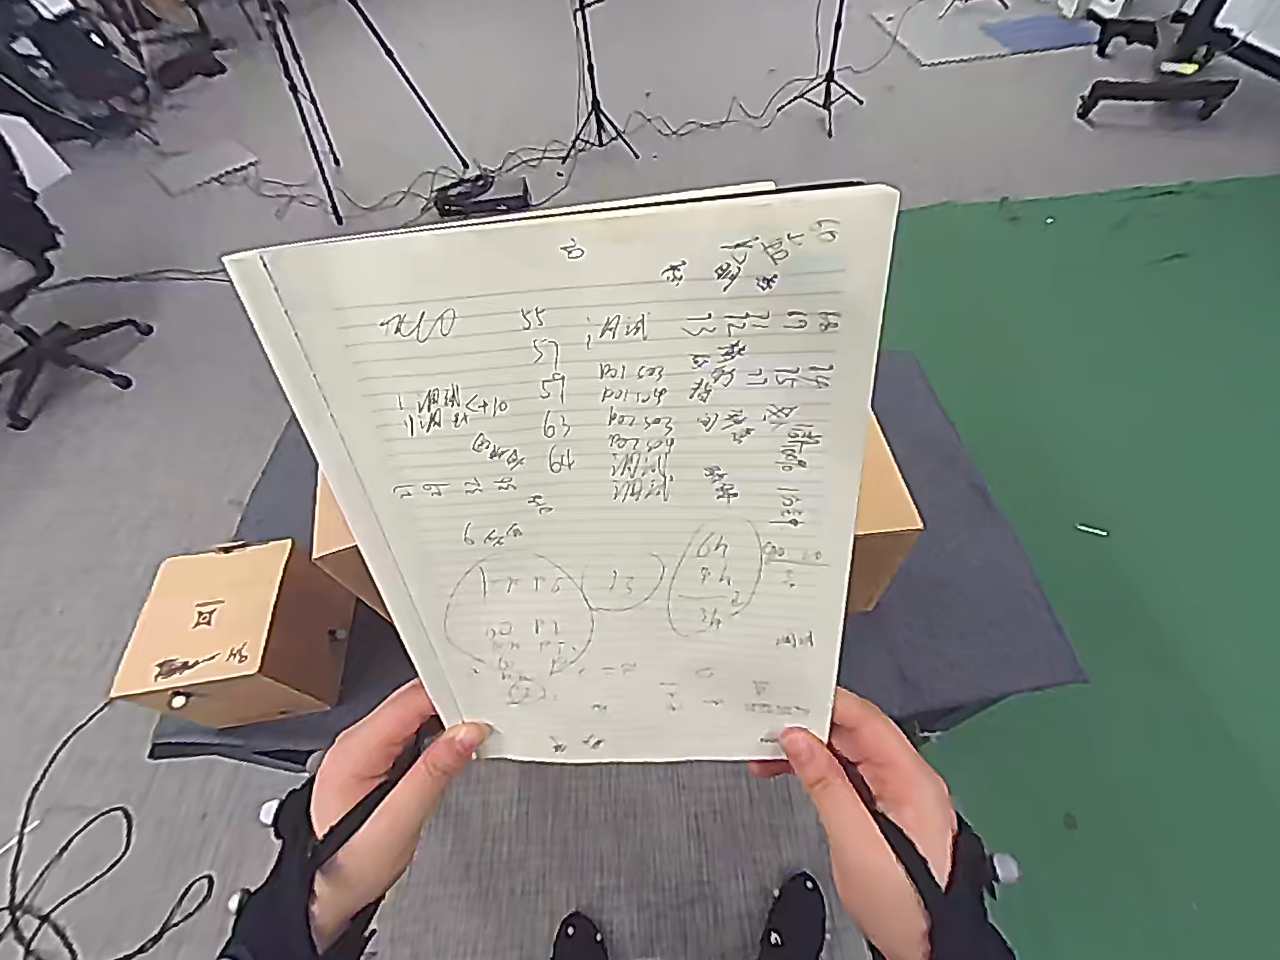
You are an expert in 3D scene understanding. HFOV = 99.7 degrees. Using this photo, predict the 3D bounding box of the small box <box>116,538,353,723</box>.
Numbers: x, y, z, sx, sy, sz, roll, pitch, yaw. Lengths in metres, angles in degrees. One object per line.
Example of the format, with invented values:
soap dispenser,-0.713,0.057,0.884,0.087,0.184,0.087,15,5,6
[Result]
small box,-0.509,0.202,0.716,0.168,0.176,0.179,-9,55,-1

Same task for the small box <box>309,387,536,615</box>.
small box,-0.232,0.030,0.607,0.179,0.176,0.168,-17,55,-6

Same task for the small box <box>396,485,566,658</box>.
small box,-0.218,0.122,0.743,0.179,0.176,0.168,-19,56,-8

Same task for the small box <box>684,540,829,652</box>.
small box,0.153,0.103,0.712,0.168,0.176,0.179,7,56,12

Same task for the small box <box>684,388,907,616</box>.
small box,0.142,0.029,0.566,0.179,0.176,0.168,-7,54,2
